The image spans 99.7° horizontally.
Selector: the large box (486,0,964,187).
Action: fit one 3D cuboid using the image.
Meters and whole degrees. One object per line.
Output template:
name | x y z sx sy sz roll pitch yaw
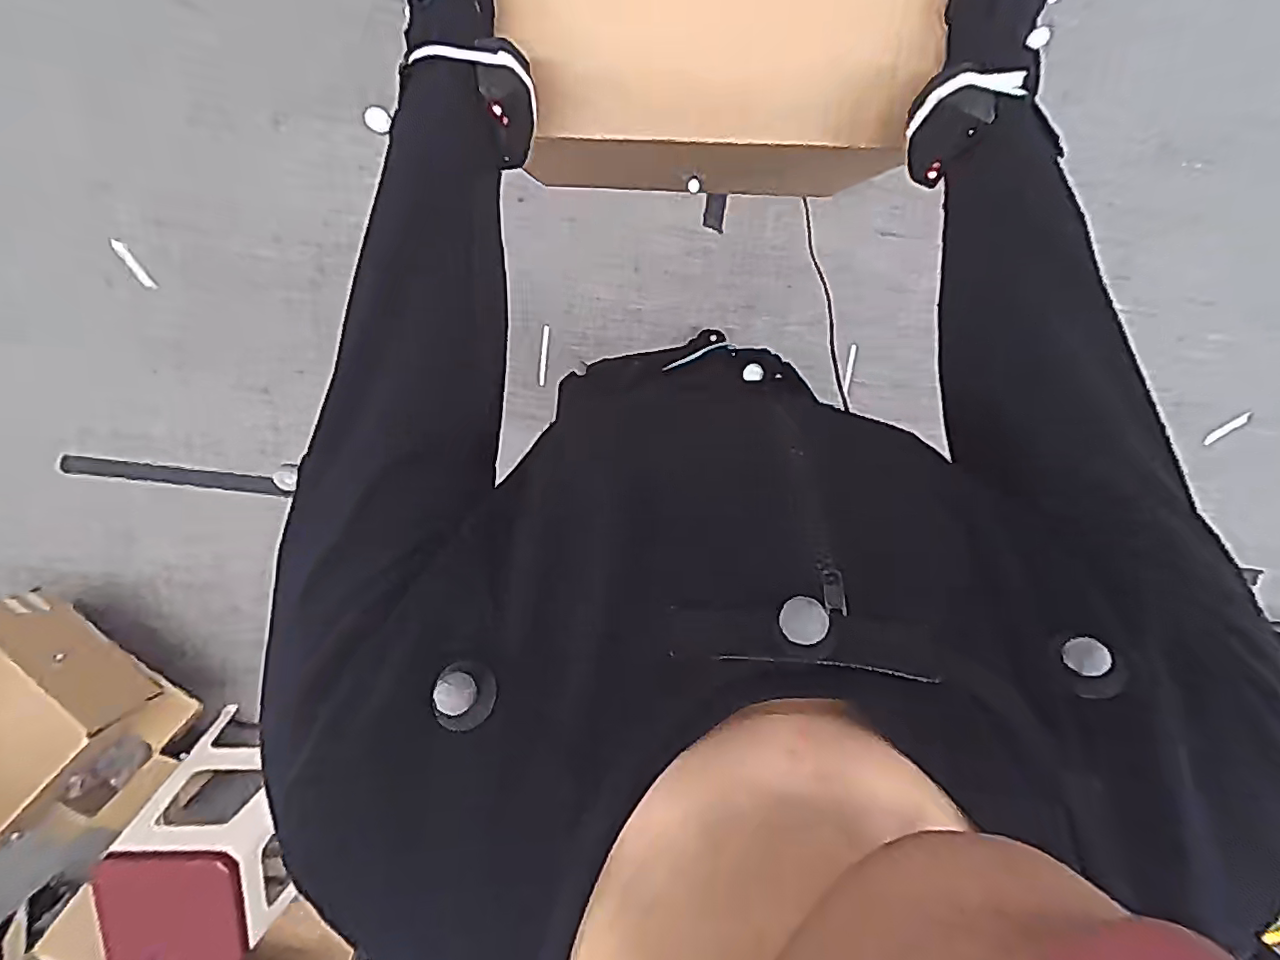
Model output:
large box | 0.075 -0.501 0.565 0.408 0.320 0.320 3 110 0
